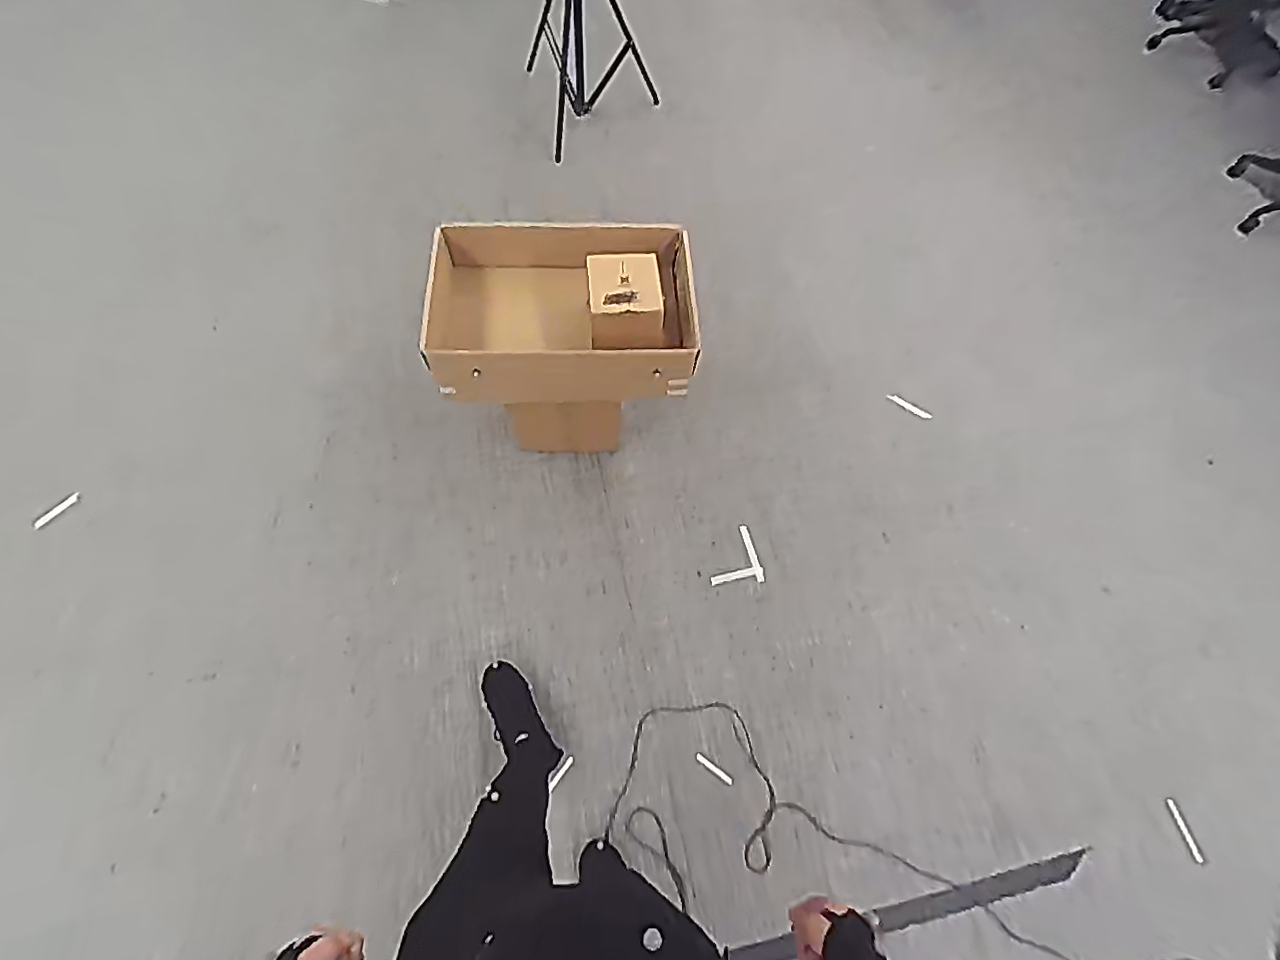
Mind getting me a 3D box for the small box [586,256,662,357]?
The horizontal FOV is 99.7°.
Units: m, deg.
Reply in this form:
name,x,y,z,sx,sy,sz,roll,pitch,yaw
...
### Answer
name,x,y,z,sx,sy,sz,roll,pitch,yaw
small box,-0.041,-0.410,1.301,0.168,0.176,0.179,-4,65,-6
